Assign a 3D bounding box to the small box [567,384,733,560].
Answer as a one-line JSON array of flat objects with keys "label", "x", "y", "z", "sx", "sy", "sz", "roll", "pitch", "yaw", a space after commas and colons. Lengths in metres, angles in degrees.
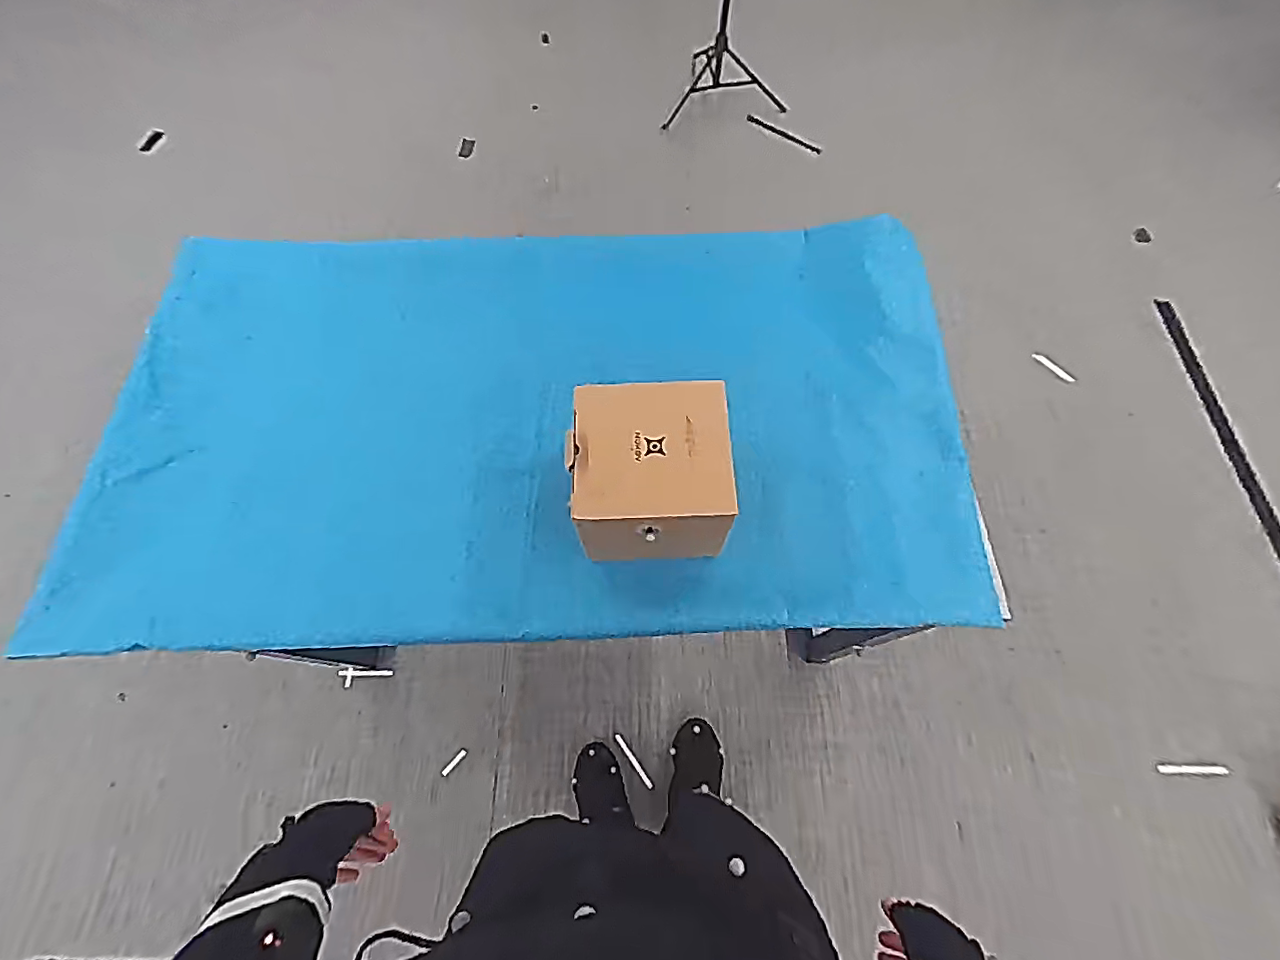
[{"label": "small box", "x": 0.013, "y": -0.002, "z": 0.664, "sx": 0.179, "sy": 0.176, "sz": 0.168, "roll": -2, "pitch": 67, "yaw": 1}]
